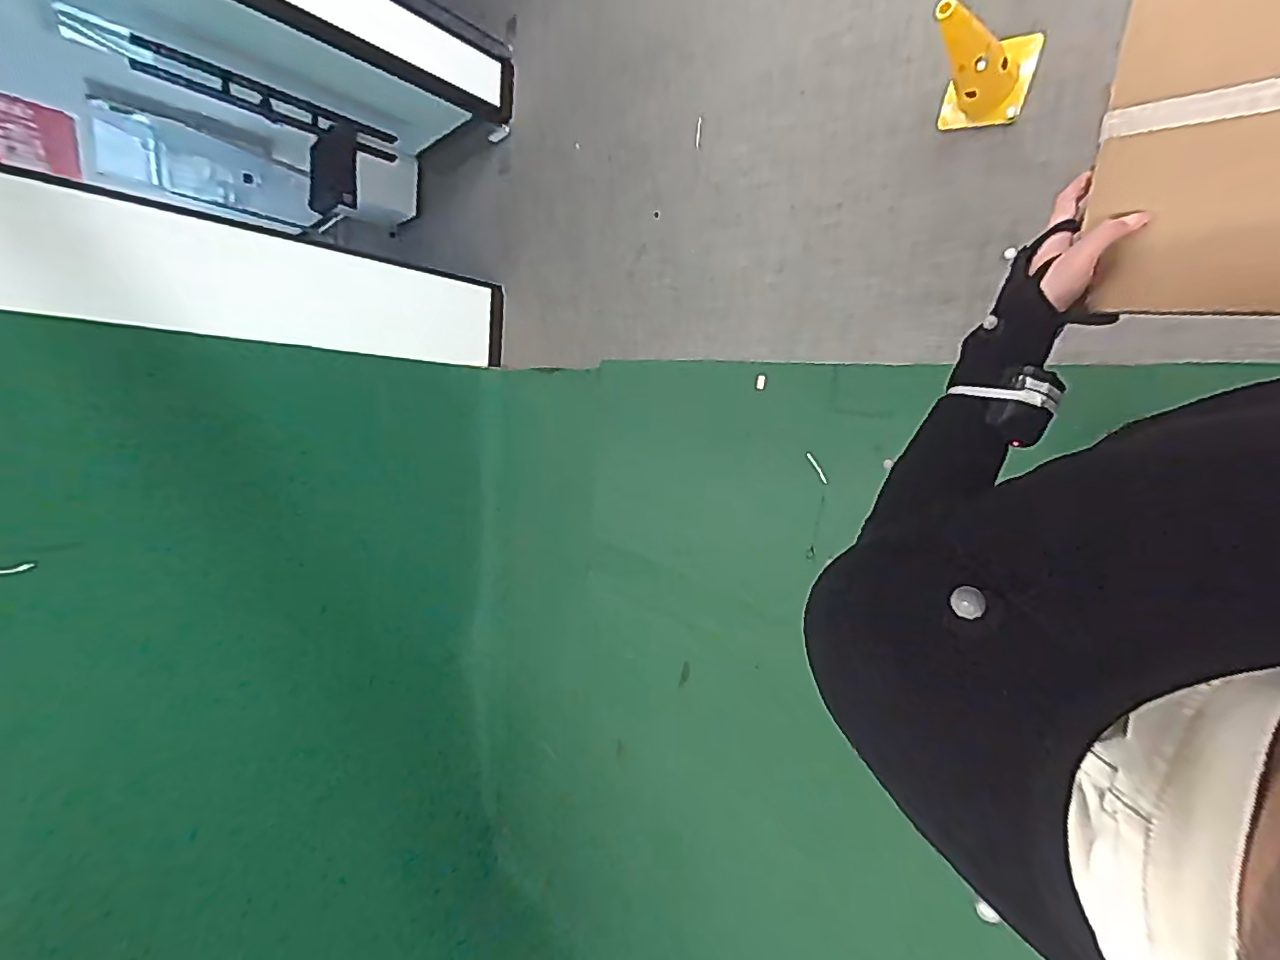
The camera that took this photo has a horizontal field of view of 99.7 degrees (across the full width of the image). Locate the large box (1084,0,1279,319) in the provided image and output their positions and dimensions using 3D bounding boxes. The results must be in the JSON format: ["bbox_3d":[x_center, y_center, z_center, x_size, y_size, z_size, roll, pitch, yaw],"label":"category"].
[{"bbox_3d":[0.664,-0.297,0.437,0.408,0.320,0.320,17,114,44],"label":"large box"}]
